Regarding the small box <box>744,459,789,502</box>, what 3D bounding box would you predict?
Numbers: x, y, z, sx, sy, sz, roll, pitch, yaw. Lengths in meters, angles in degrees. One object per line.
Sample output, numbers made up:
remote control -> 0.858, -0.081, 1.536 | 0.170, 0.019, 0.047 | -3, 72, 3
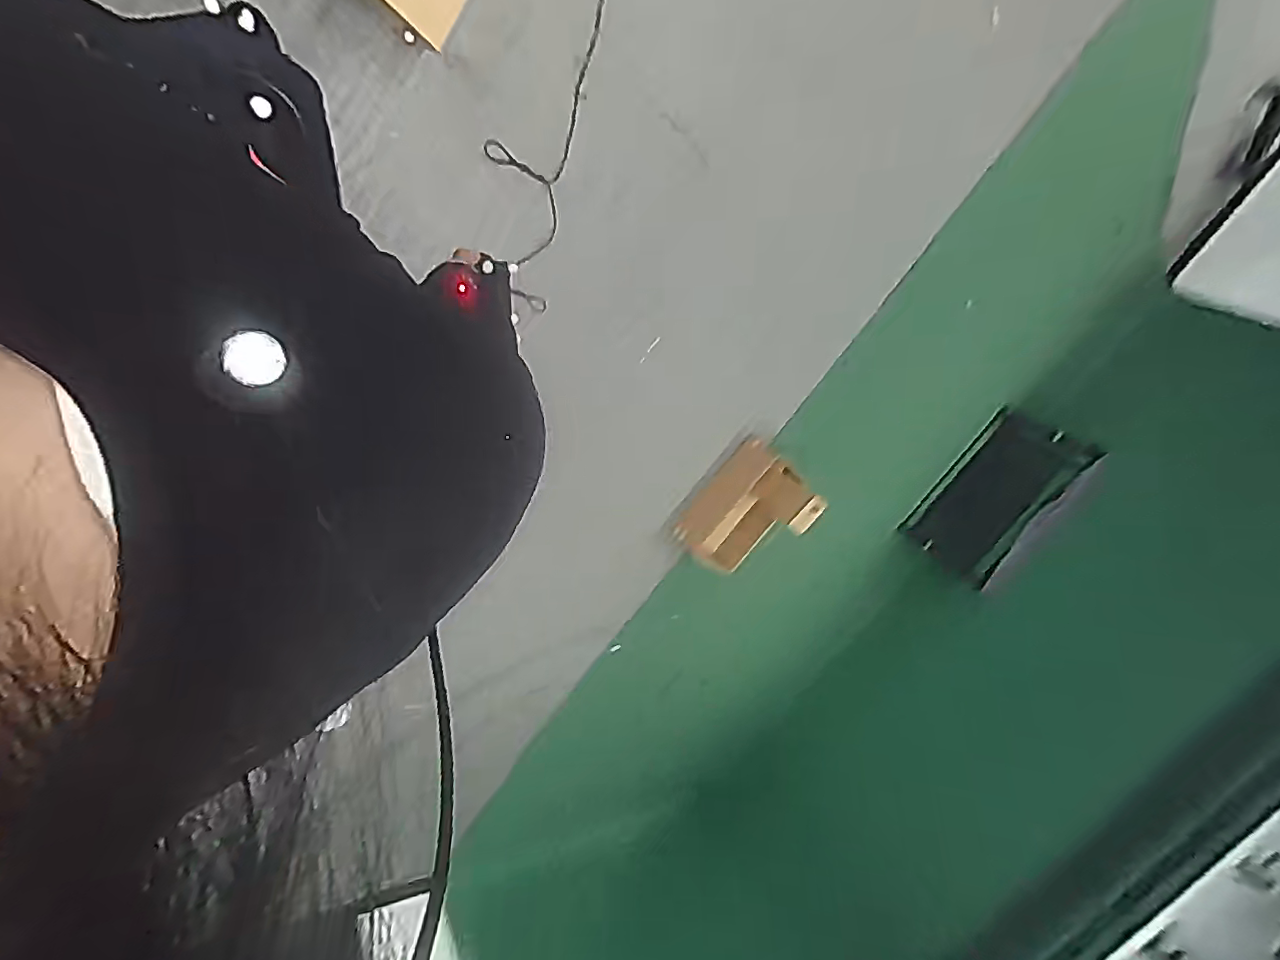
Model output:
small box -> 0.636, 0.020, 2.613 | 0.168, 0.176, 0.179 | -51, 138, 9

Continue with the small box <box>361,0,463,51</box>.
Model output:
small box -> -0.435, -0.942, 0.992 | 0.179, 0.176, 0.168 | 22, 107, -48

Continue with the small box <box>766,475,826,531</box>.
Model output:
small box -> 0.719, 0.103, 2.497 | 0.179, 0.176, 0.168 | -50, 138, 9
